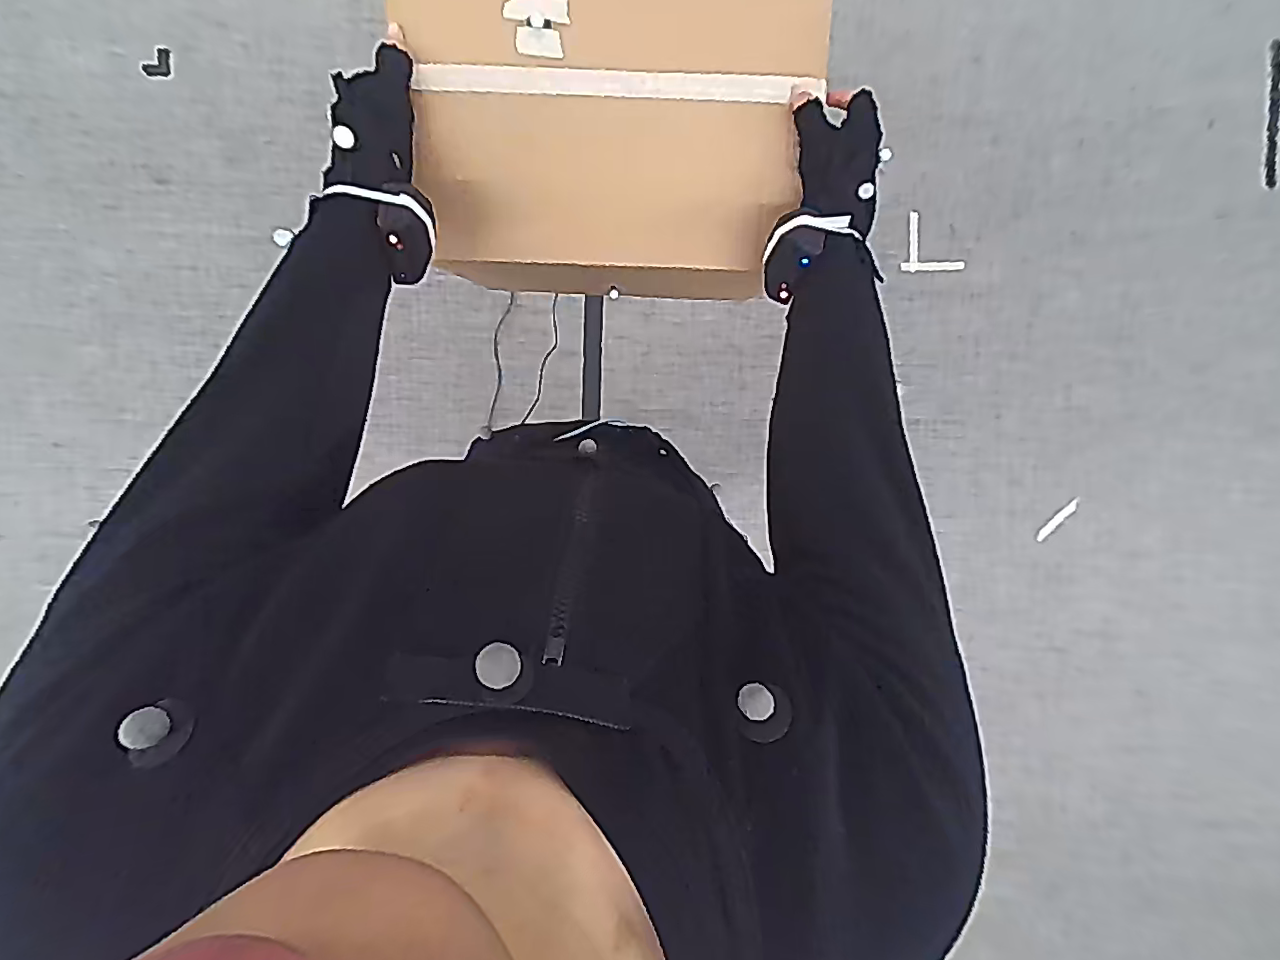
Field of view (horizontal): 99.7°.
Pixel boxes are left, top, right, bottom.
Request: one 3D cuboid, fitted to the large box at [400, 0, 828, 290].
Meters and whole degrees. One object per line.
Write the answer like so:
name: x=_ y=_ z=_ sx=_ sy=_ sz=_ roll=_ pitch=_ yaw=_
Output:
large box: x=-0.024 y=-0.408 z=0.659 sx=0.408 sy=0.320 sz=0.320 roll=2 pitch=103 yaw=0
